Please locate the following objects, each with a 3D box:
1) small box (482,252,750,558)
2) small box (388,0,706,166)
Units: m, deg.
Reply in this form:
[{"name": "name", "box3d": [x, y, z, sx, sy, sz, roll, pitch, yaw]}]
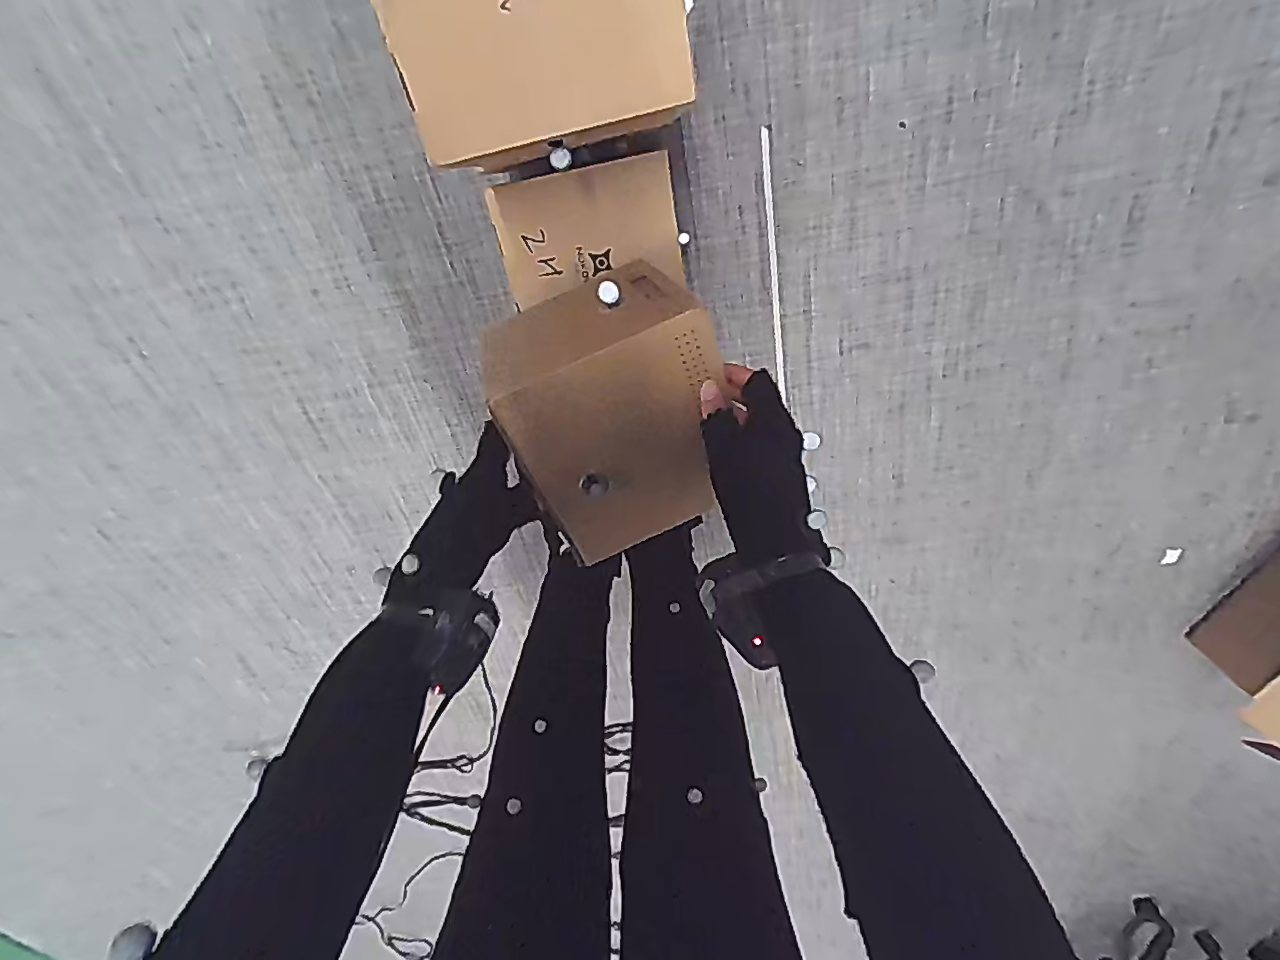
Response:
[{"name": "small box", "box3d": [-0.019, -0.070, 0.477, 0.176, 0.168, 0.179, -25, 127, -2]}, {"name": "small box", "box3d": [-0.061, -0.330, 0.371, 0.179, 0.176, 0.168, -11, 121, 6]}]
